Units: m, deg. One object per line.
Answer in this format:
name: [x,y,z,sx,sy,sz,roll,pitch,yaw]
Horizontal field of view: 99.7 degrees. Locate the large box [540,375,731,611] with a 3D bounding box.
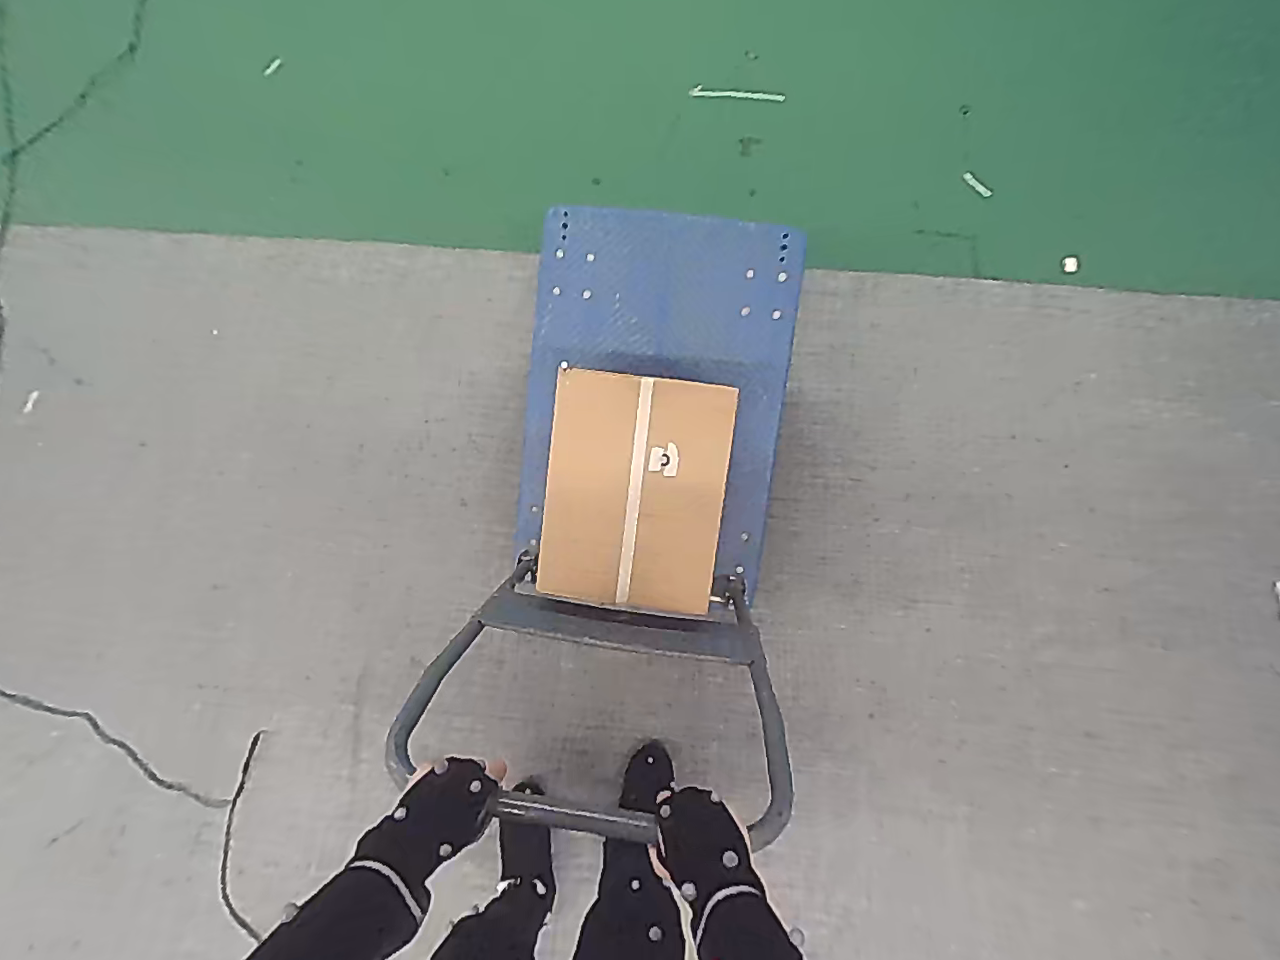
large box: [-0.001,0.013,1.115,0.320,0.320,0.408,7,96,3]
